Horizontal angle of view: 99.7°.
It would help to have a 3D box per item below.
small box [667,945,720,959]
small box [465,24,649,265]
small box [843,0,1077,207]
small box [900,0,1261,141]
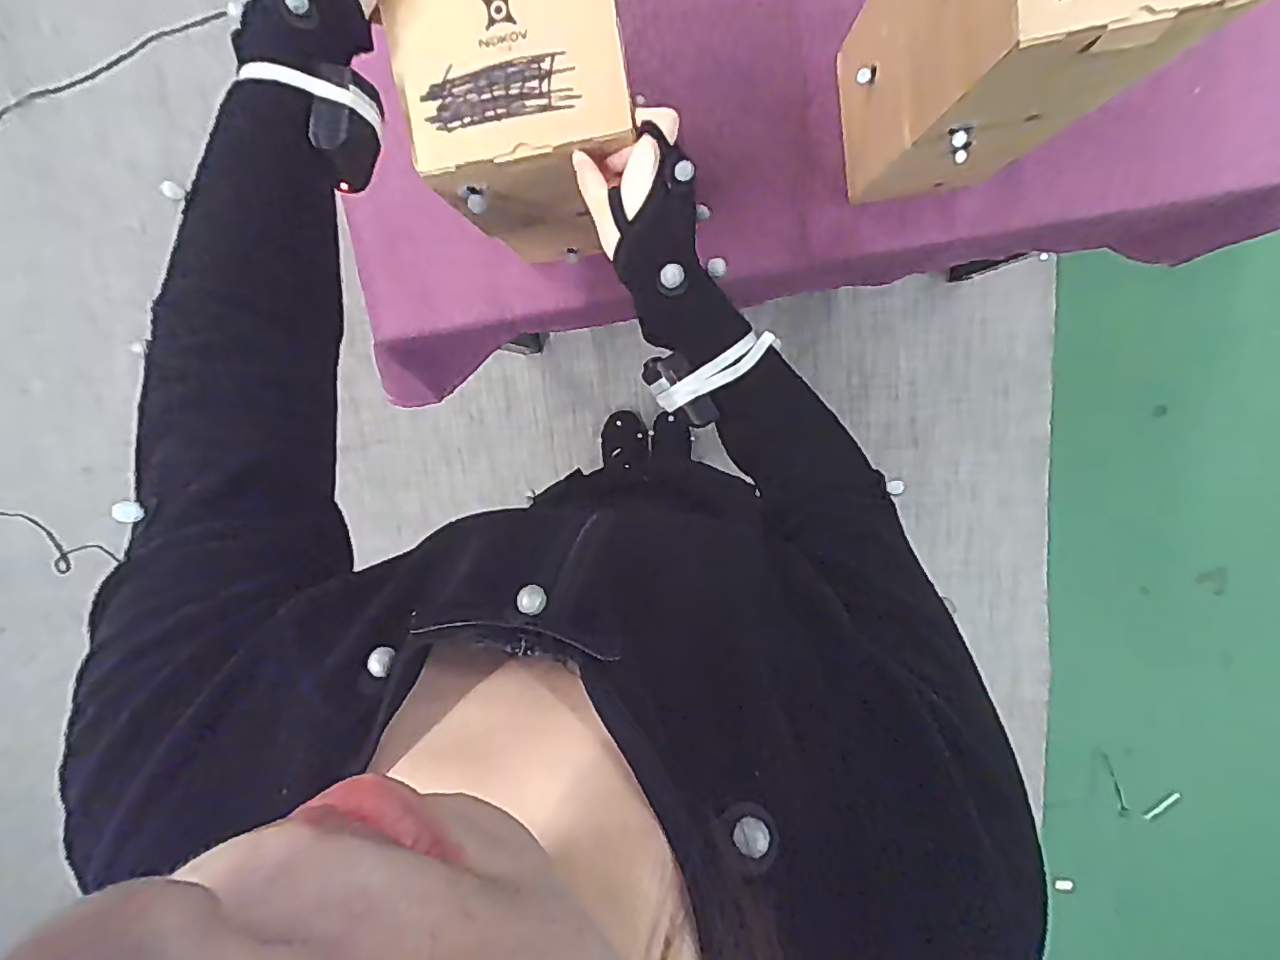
[{"bbox_3d":[0.171,1.567,1.648,0.168,0.176,0.179,-5,99,4],"label":"small box"},{"bbox_3d":[-0.081,-0.366,0.625,0.168,0.176,0.179,-7,100,4],"label":"small box"},{"bbox_3d":[0.333,-0.429,0.593,0.168,0.176,0.179,-8,99,5],"label":"small box"},{"bbox_3d":[0.326,-0.401,0.431,0.168,0.176,0.179,-9,99,4],"label":"small box"}]
